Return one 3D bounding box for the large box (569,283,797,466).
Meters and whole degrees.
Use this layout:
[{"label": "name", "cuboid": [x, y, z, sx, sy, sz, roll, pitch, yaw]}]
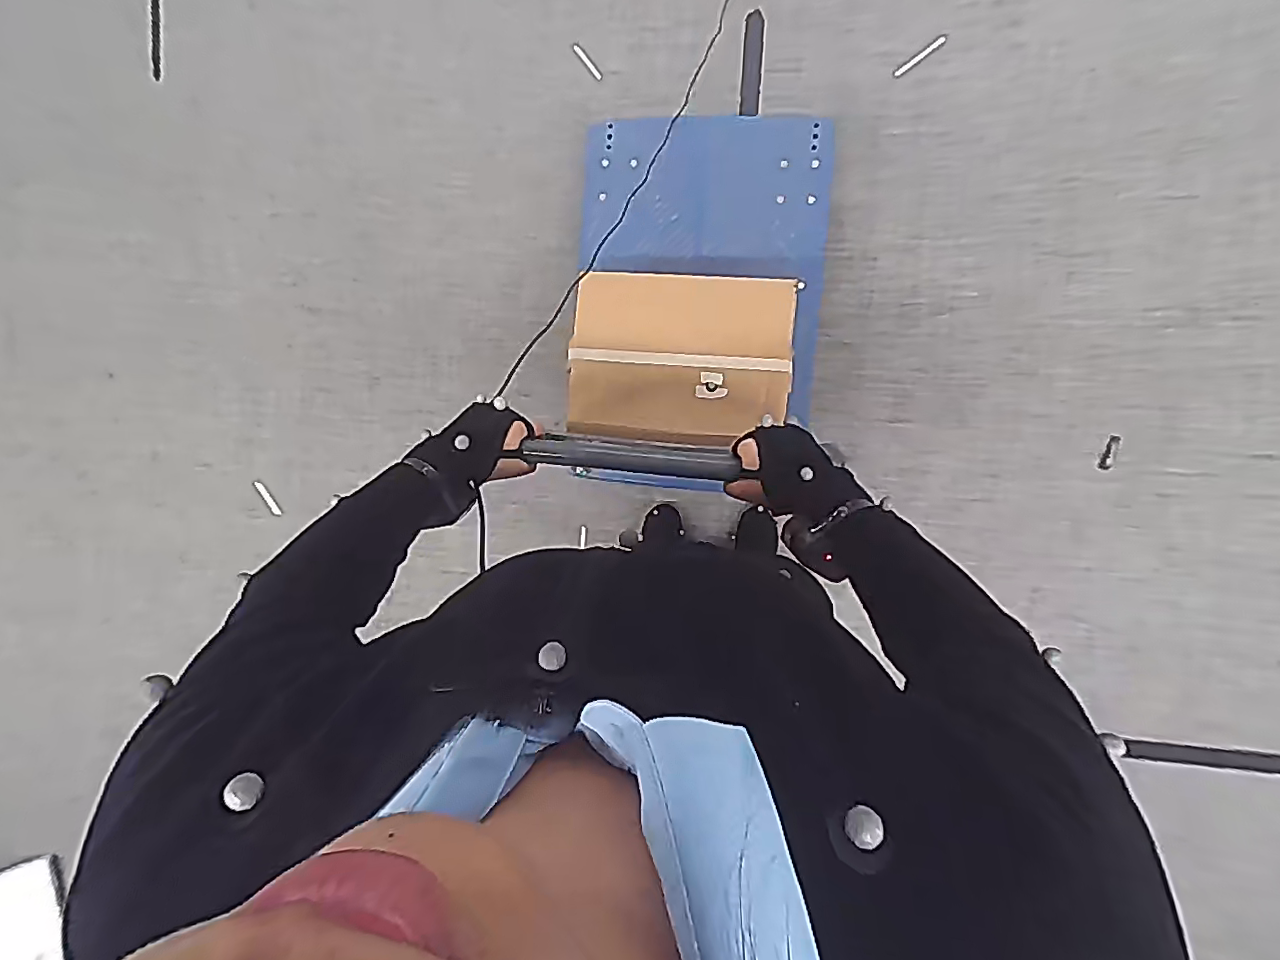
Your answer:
[{"label": "large box", "cuboid": [0.089, -0.200, 1.135, 0.408, 0.320, 0.320, 5, 92, 8]}]
